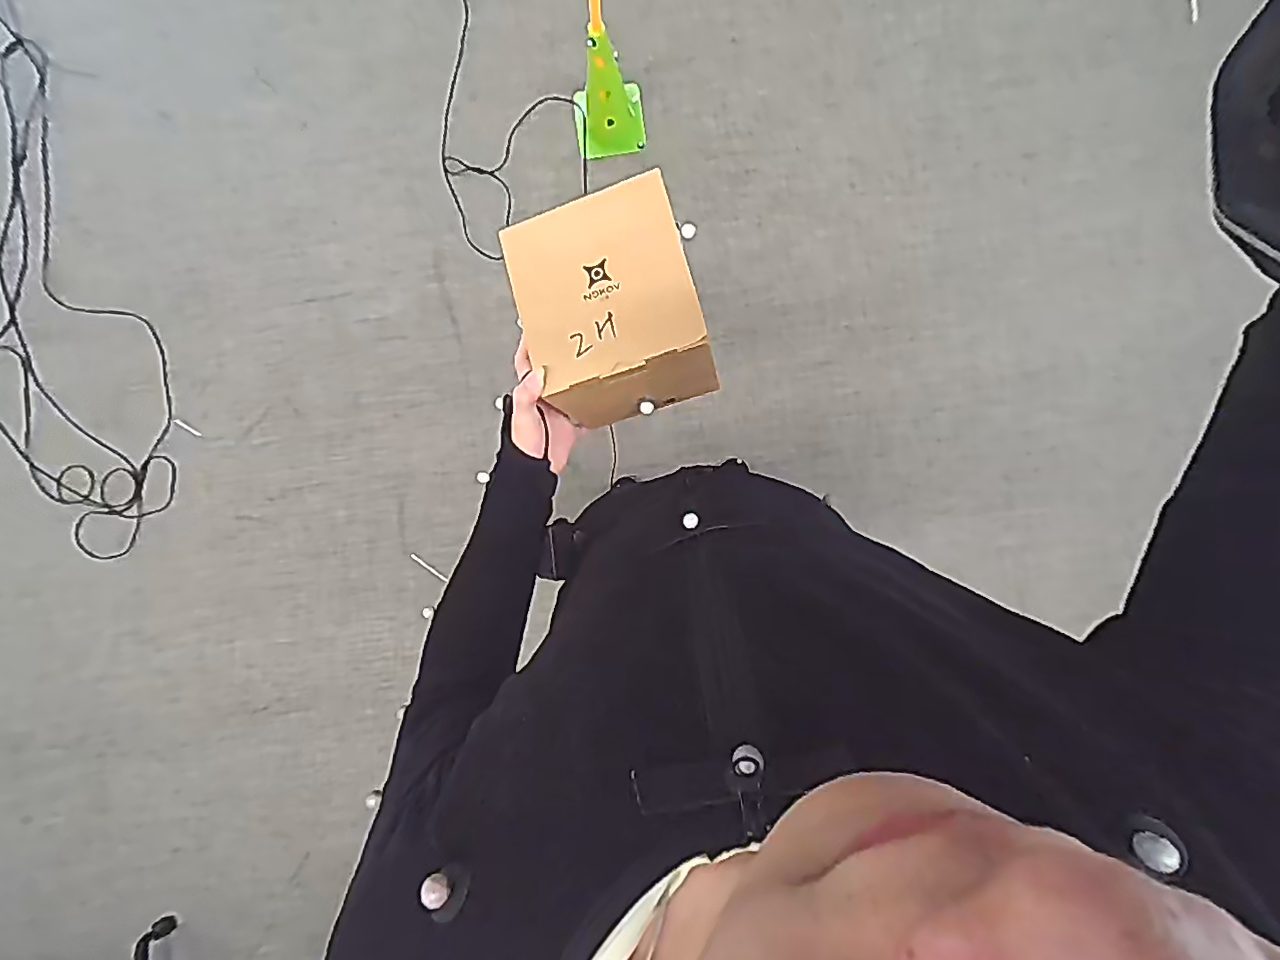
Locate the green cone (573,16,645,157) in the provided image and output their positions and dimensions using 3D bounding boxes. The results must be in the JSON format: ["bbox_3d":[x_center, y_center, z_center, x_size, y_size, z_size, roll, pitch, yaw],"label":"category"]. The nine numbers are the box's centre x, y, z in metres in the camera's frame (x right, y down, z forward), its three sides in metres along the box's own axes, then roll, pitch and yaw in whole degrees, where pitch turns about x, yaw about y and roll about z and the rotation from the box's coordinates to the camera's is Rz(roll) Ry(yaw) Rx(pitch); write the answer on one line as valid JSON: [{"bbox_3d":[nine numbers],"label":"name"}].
[{"bbox_3d":[-0.101,-1.075,1.441,0.202,0.368,0.200,-8,91,3],"label":"green cone"}]

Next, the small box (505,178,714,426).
[{"bbox_3d":[-0.022,-0.174,0.585,0.168,0.176,0.179,-16,82,10],"label":"small box"}]
